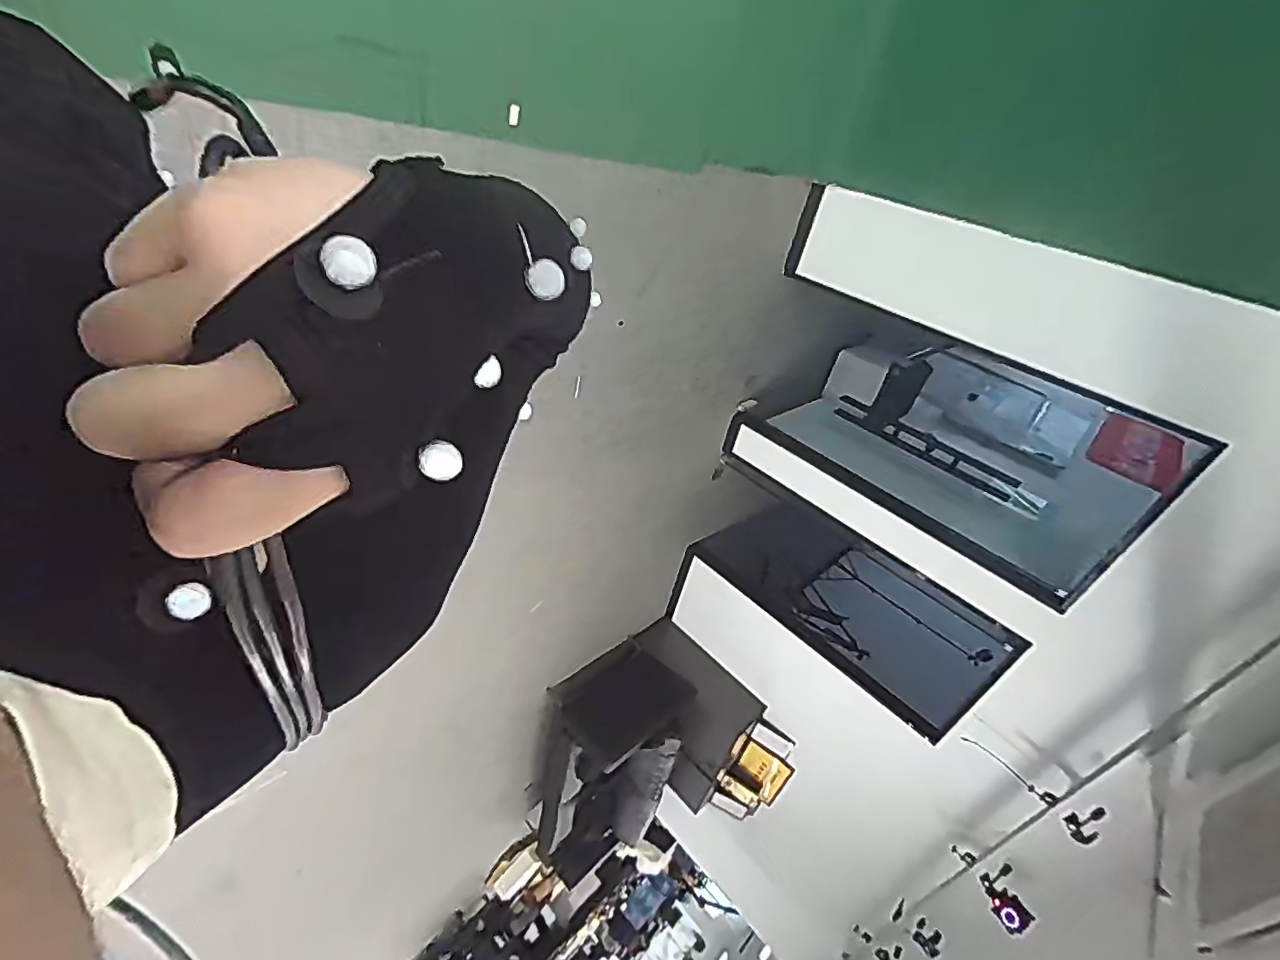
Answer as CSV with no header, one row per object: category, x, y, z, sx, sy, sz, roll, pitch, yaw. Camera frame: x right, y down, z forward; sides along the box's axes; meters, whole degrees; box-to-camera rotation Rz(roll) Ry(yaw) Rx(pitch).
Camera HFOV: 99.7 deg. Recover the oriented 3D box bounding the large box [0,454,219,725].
large box,-1.171,0.215,1.148,0.320,0.320,0.408,-22,138,-43
